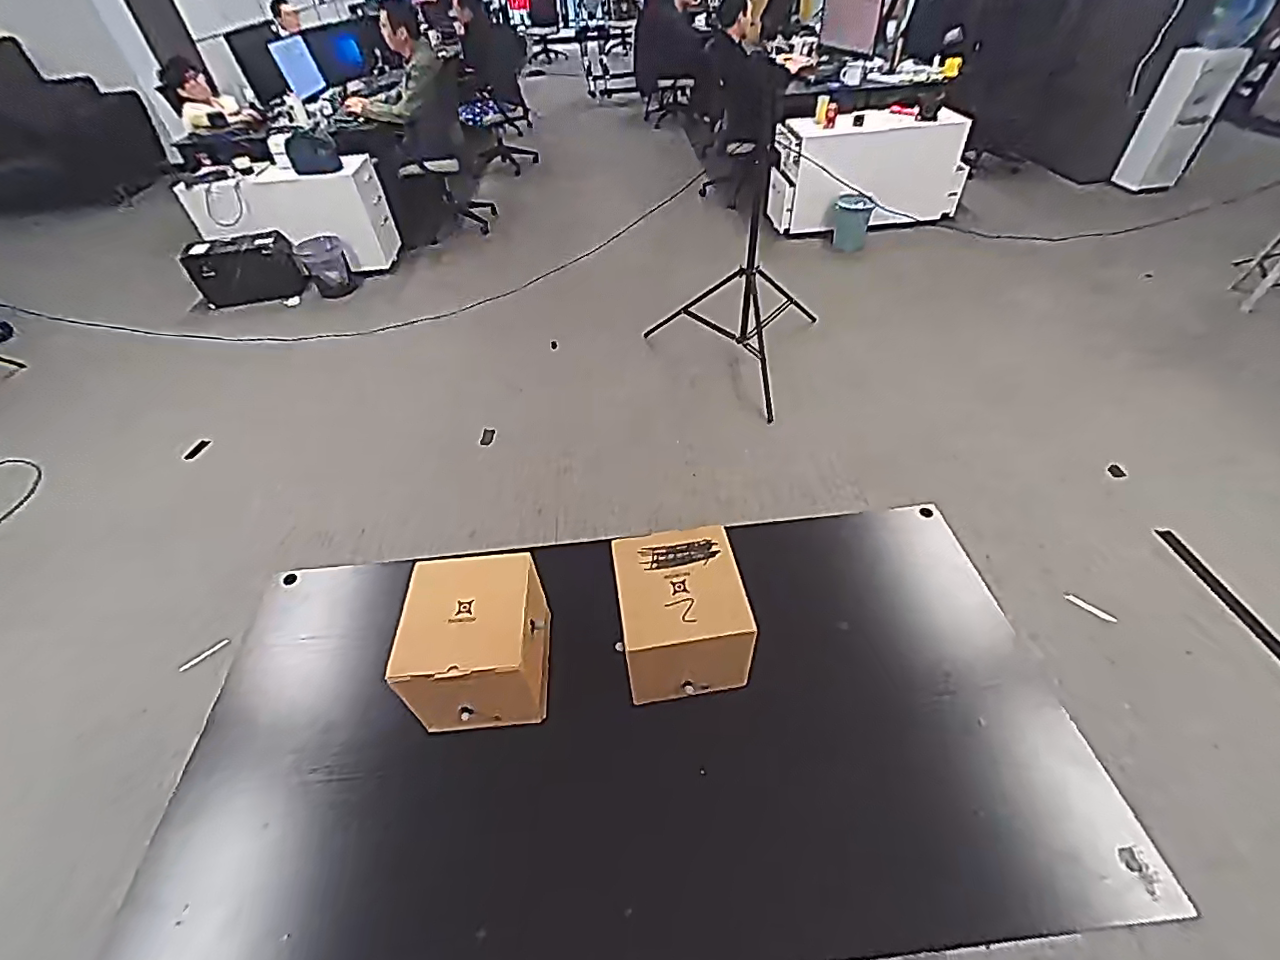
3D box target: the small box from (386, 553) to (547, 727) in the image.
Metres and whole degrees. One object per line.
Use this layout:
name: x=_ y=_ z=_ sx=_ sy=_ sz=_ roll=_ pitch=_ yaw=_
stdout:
small box: x=-0.229 y=0.227 z=0.771 sx=0.168 sy=0.176 sz=0.179 roll=-5 pitch=46 yaw=-1
